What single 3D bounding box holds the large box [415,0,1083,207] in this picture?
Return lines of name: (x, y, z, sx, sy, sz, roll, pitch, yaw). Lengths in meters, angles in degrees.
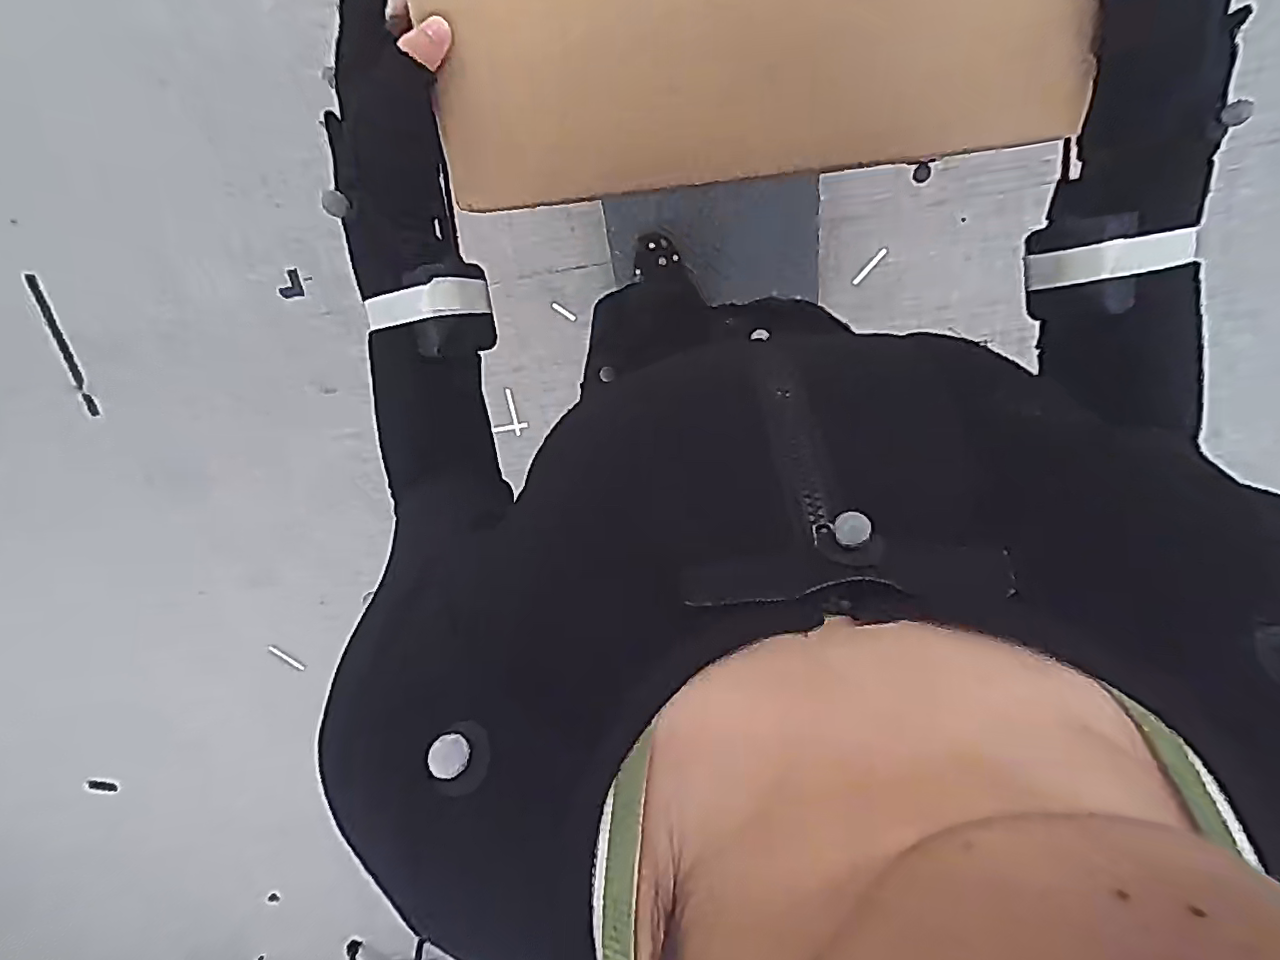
large box: (0.062, -0.416, 0.422, 0.408, 0.320, 0.320, -4, 118, 4)
